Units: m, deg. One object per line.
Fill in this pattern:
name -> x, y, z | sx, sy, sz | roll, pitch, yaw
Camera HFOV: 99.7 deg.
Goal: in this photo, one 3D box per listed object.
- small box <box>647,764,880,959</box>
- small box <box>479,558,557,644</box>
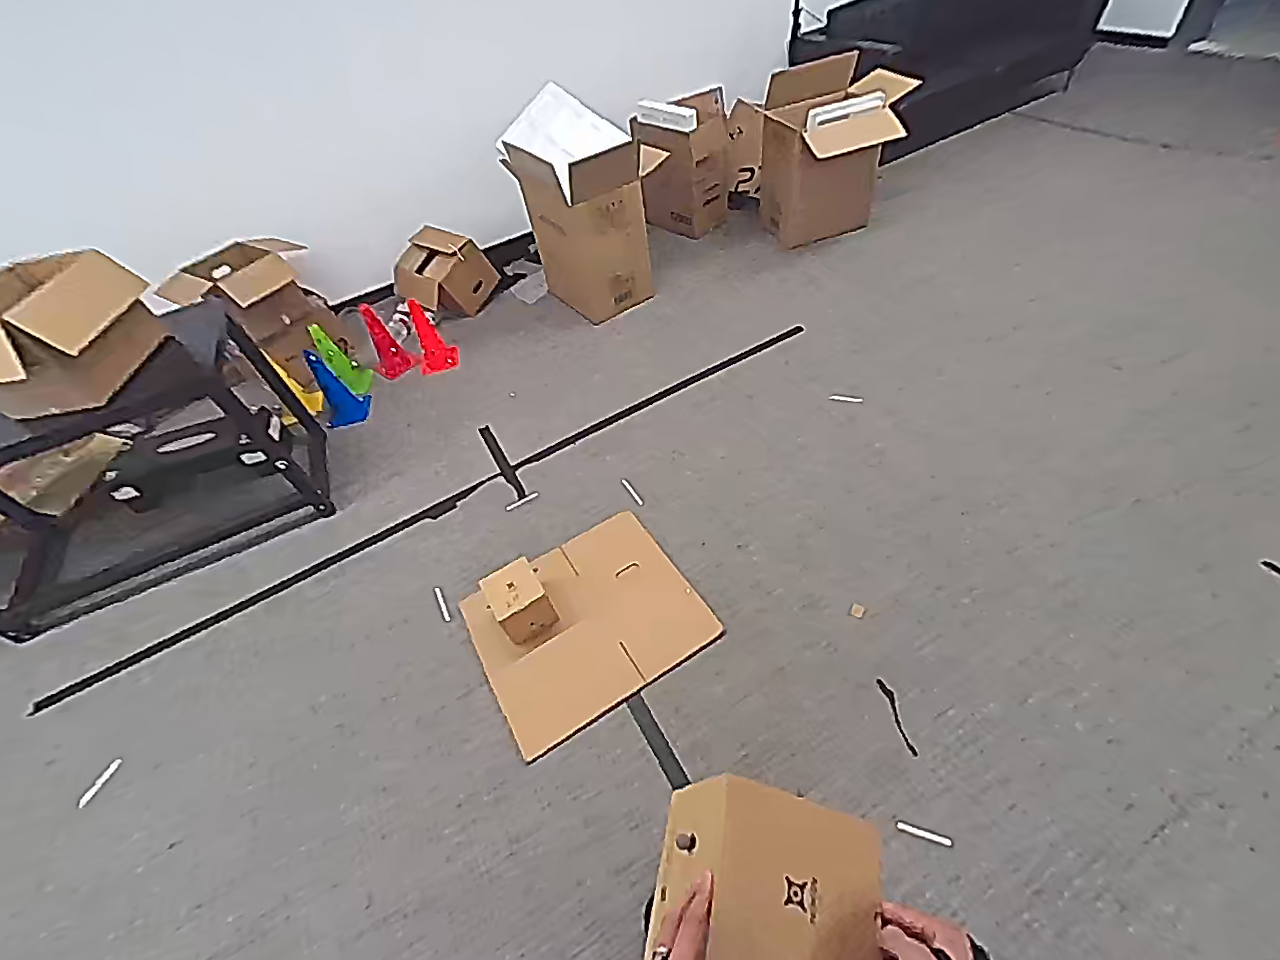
small box -> 0.122, 0.423, 0.566 | 0.179, 0.176, 0.168 | 21, 51, -5
small box -> -0.391, 0.394, 1.749 | 0.168, 0.176, 0.179 | -30, 51, -15
